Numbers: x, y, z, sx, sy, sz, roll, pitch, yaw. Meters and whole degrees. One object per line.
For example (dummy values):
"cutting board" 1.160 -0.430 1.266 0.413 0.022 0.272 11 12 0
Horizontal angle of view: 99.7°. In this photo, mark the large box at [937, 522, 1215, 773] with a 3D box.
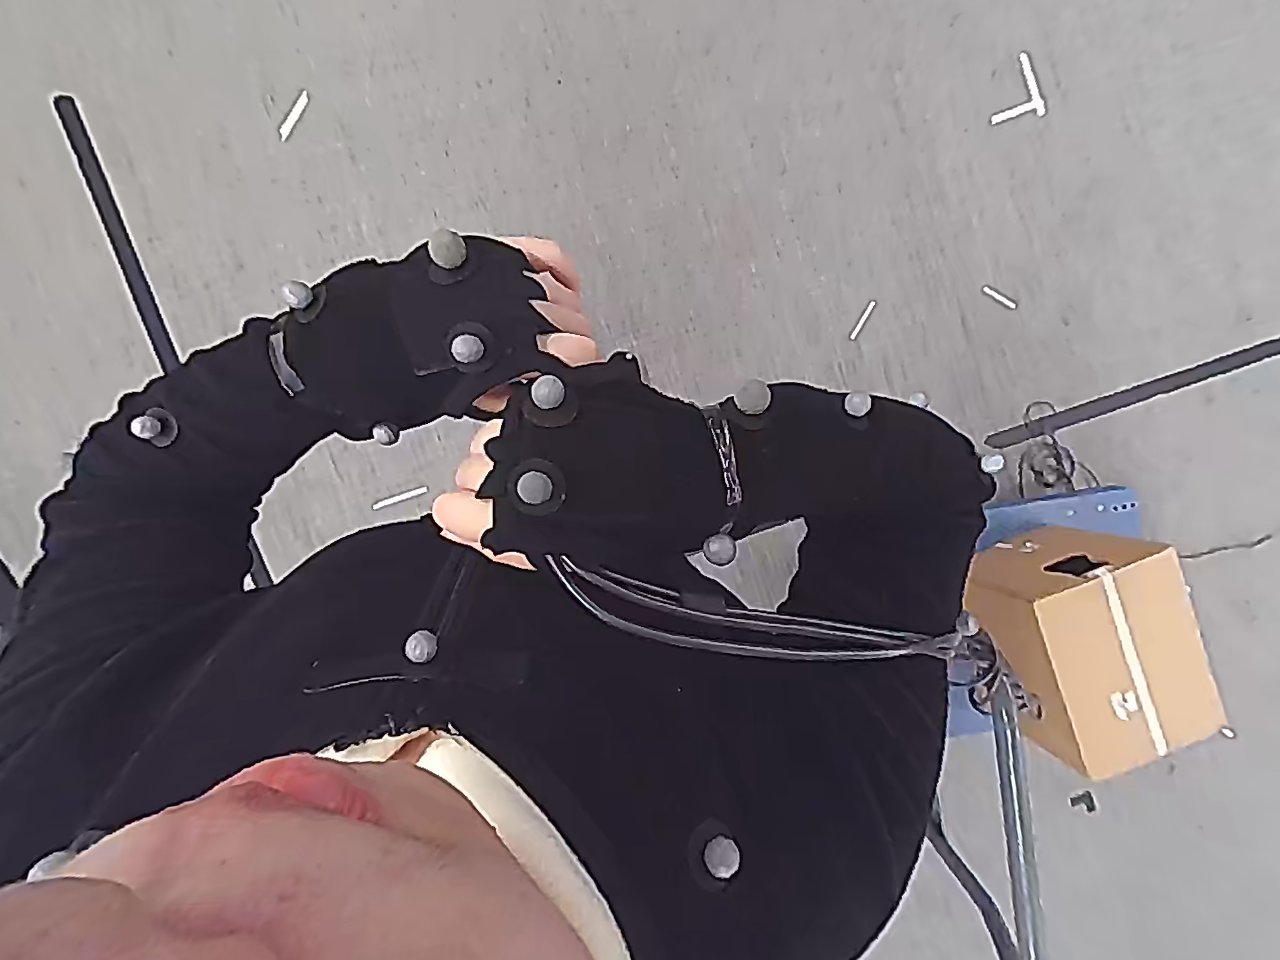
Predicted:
"large box" 0.962 0.350 1.235 0.320 0.320 0.408 -20 95 -1
